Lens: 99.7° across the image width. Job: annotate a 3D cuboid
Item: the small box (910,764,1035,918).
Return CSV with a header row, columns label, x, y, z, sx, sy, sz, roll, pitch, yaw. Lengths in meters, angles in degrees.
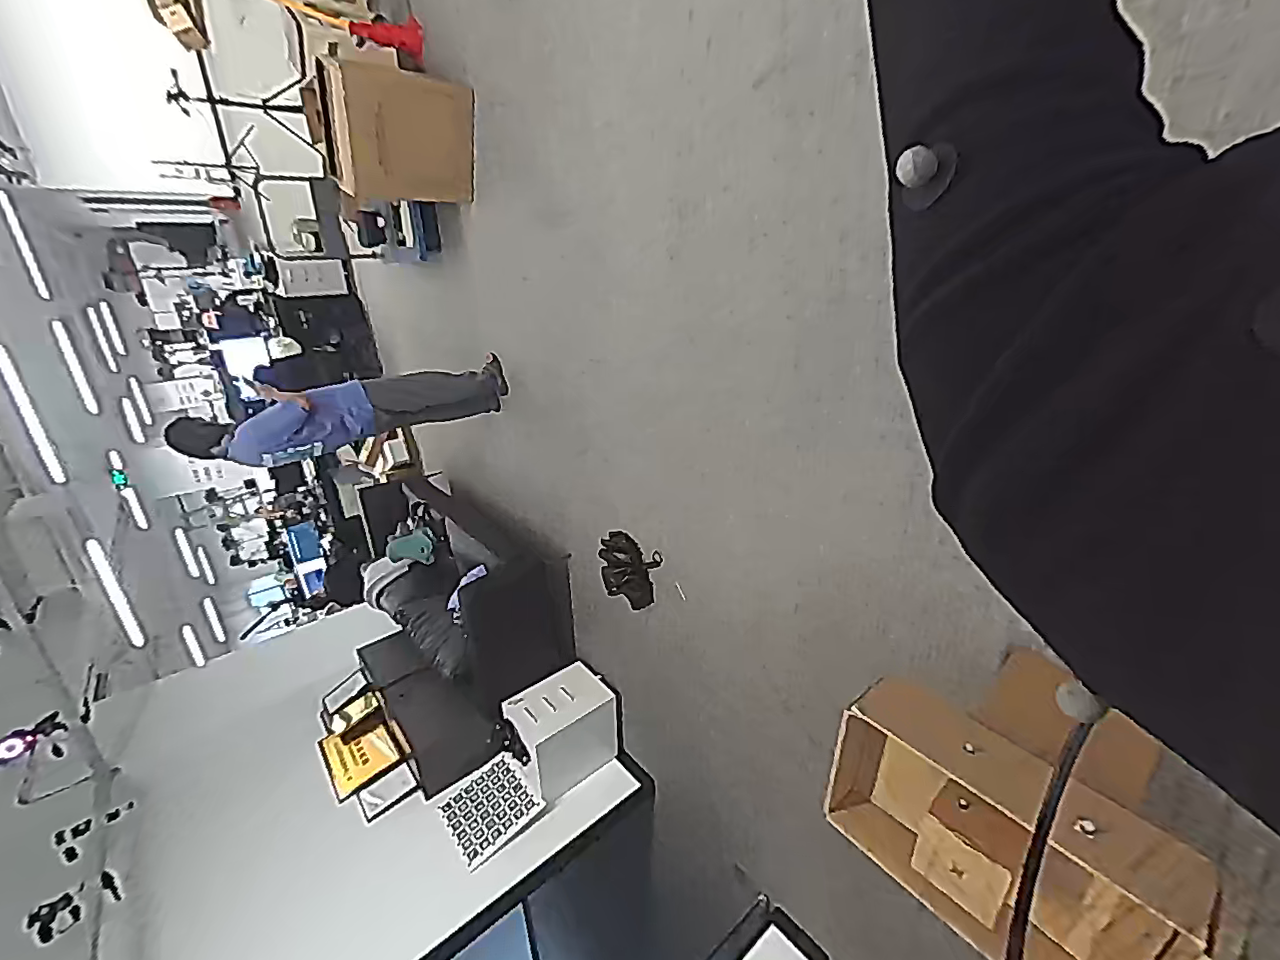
label,x,y,z,sx,sy,sz,roll,pitch,yaw
small box,0.705,0.753,1.147,0.168,0.176,0.179,24,126,46
